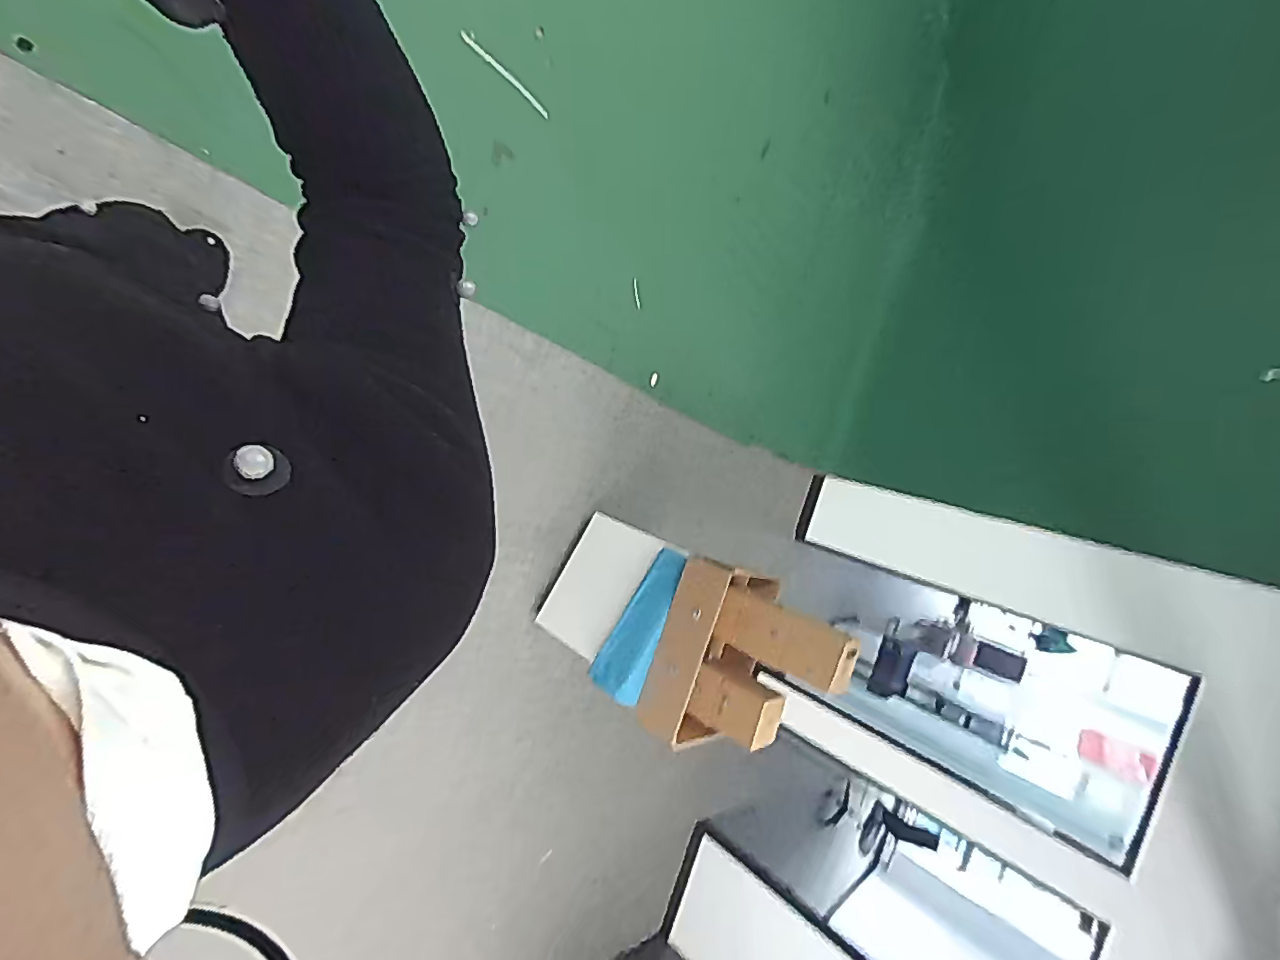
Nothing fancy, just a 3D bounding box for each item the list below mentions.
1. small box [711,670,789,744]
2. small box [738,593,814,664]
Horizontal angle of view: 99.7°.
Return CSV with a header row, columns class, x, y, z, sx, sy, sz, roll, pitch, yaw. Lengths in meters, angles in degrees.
class,x,y,z,sx,sy,sz,roll,pitch,yaw
small box,0.369,0.753,1.816,0.179,0.176,0.168,17,91,-50
small box,0.451,0.489,1.804,0.168,0.176,0.179,16,93,-49
